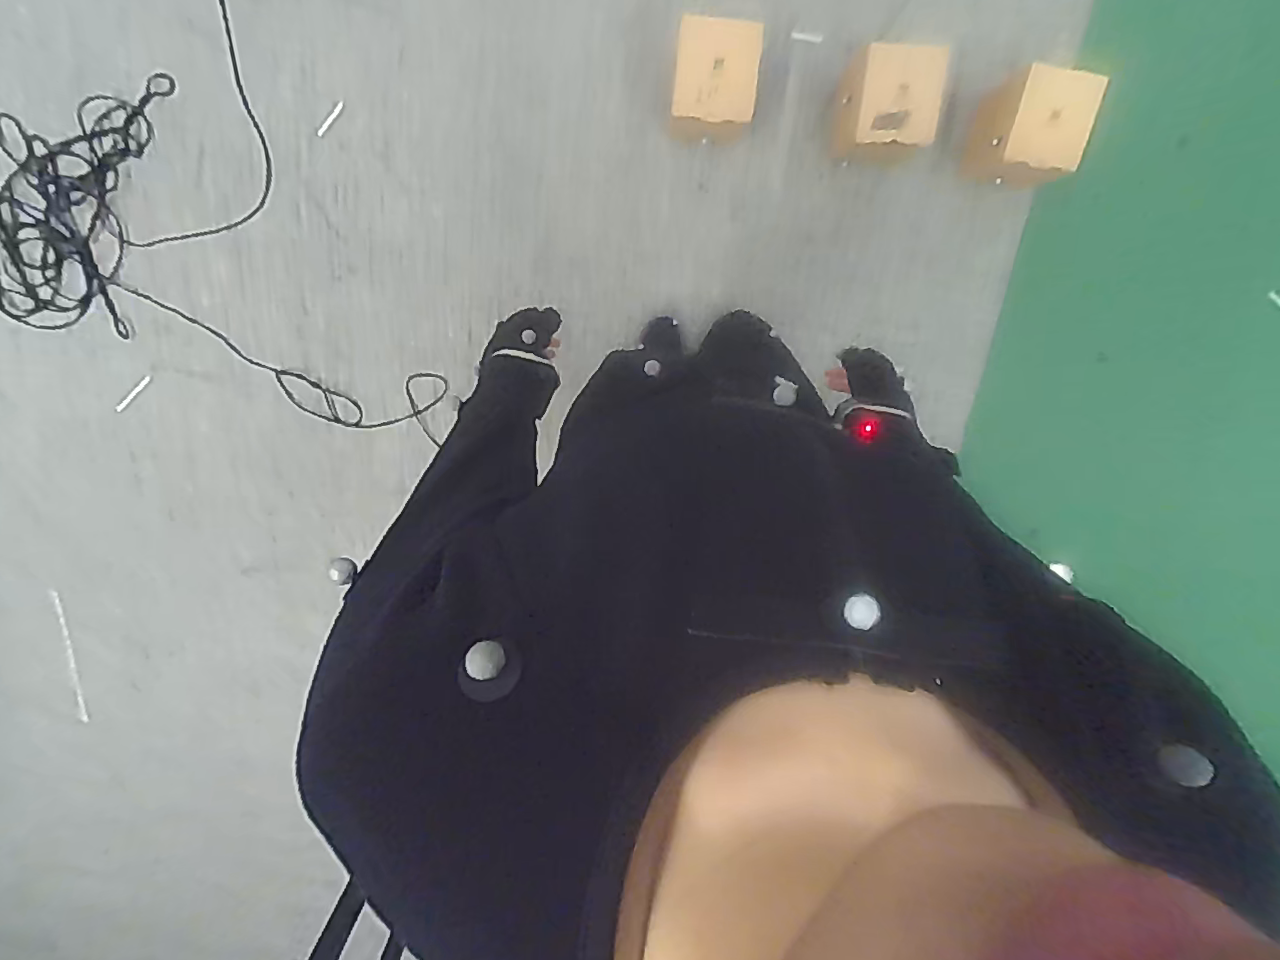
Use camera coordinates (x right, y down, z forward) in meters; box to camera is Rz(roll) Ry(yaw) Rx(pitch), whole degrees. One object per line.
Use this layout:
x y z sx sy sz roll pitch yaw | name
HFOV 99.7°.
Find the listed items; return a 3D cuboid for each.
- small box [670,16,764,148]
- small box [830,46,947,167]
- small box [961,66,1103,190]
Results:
0.157 -0.843 1.161 0.168 0.176 0.179 5 107 -1 | small box
0.529 -0.802 1.179 0.168 0.176 0.179 2 106 -2 | small box
0.850 -0.765 1.194 0.168 0.176 0.179 8 107 -2 | small box
